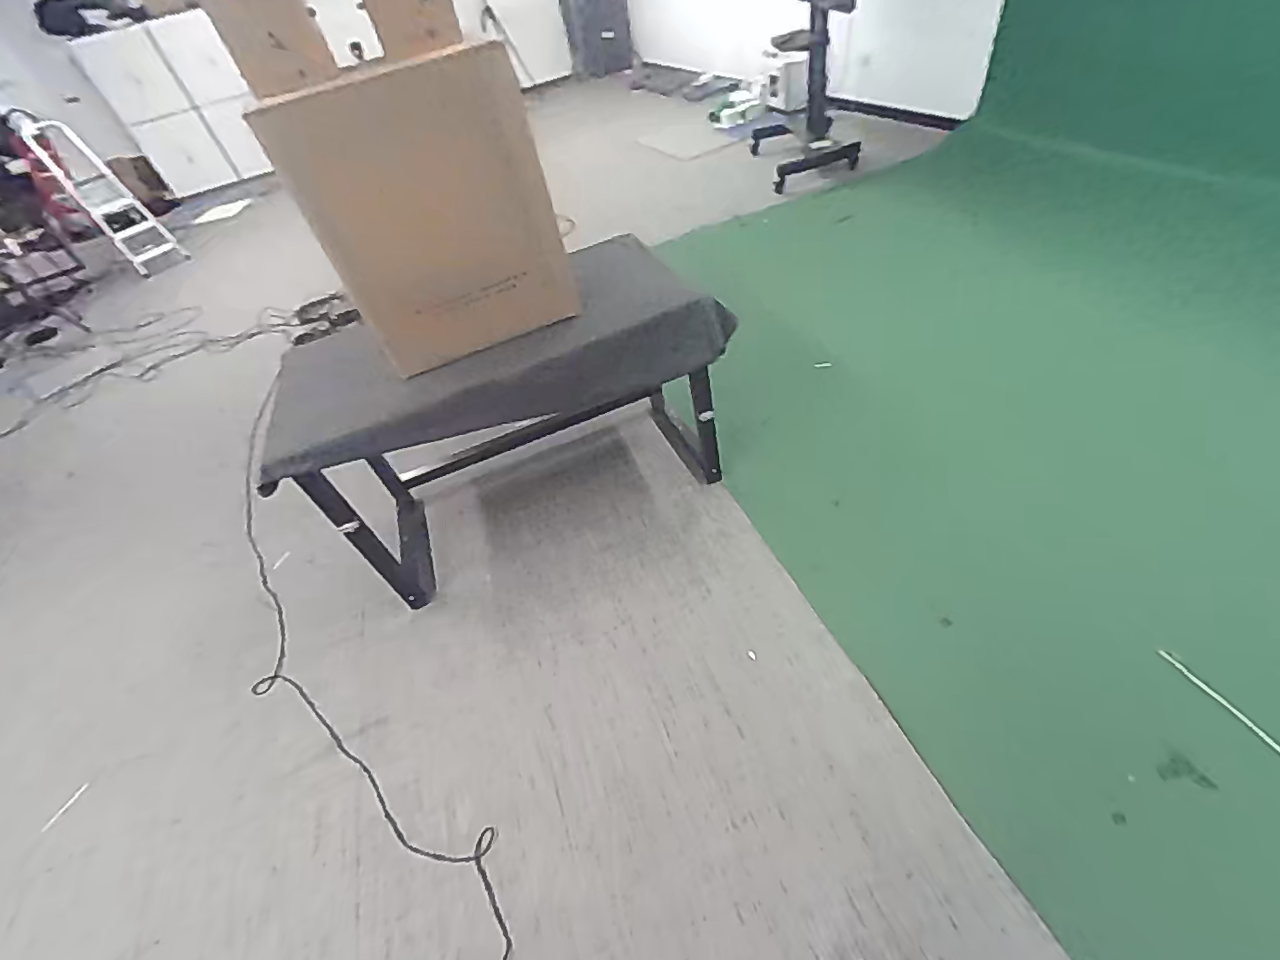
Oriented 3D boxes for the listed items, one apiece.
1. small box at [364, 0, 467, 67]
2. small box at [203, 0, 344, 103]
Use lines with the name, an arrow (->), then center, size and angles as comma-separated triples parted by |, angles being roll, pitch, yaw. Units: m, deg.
small box -> -0.473, -0.975, 1.116 | 0.168, 0.176, 0.179 | -21, 45, -10
small box -> -0.716, -0.878, 1.078 | 0.168, 0.176, 0.179 | -23, 47, -8
